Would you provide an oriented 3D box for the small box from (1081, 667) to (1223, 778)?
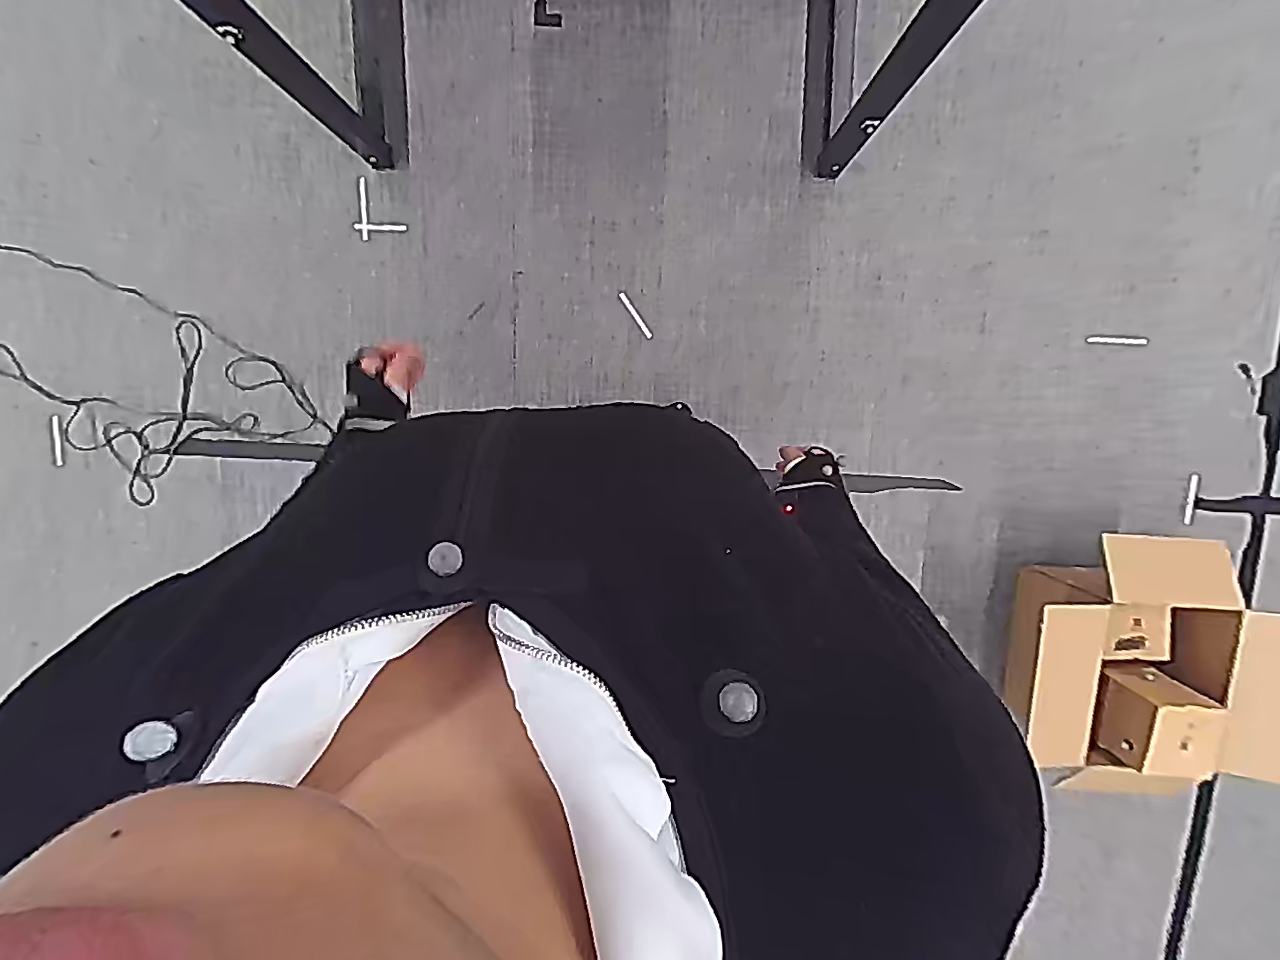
[{"bbox_3d":[1.210,0.574,1.294,0.168,0.176,0.179,4,99,-1],"label":"small box"}]
